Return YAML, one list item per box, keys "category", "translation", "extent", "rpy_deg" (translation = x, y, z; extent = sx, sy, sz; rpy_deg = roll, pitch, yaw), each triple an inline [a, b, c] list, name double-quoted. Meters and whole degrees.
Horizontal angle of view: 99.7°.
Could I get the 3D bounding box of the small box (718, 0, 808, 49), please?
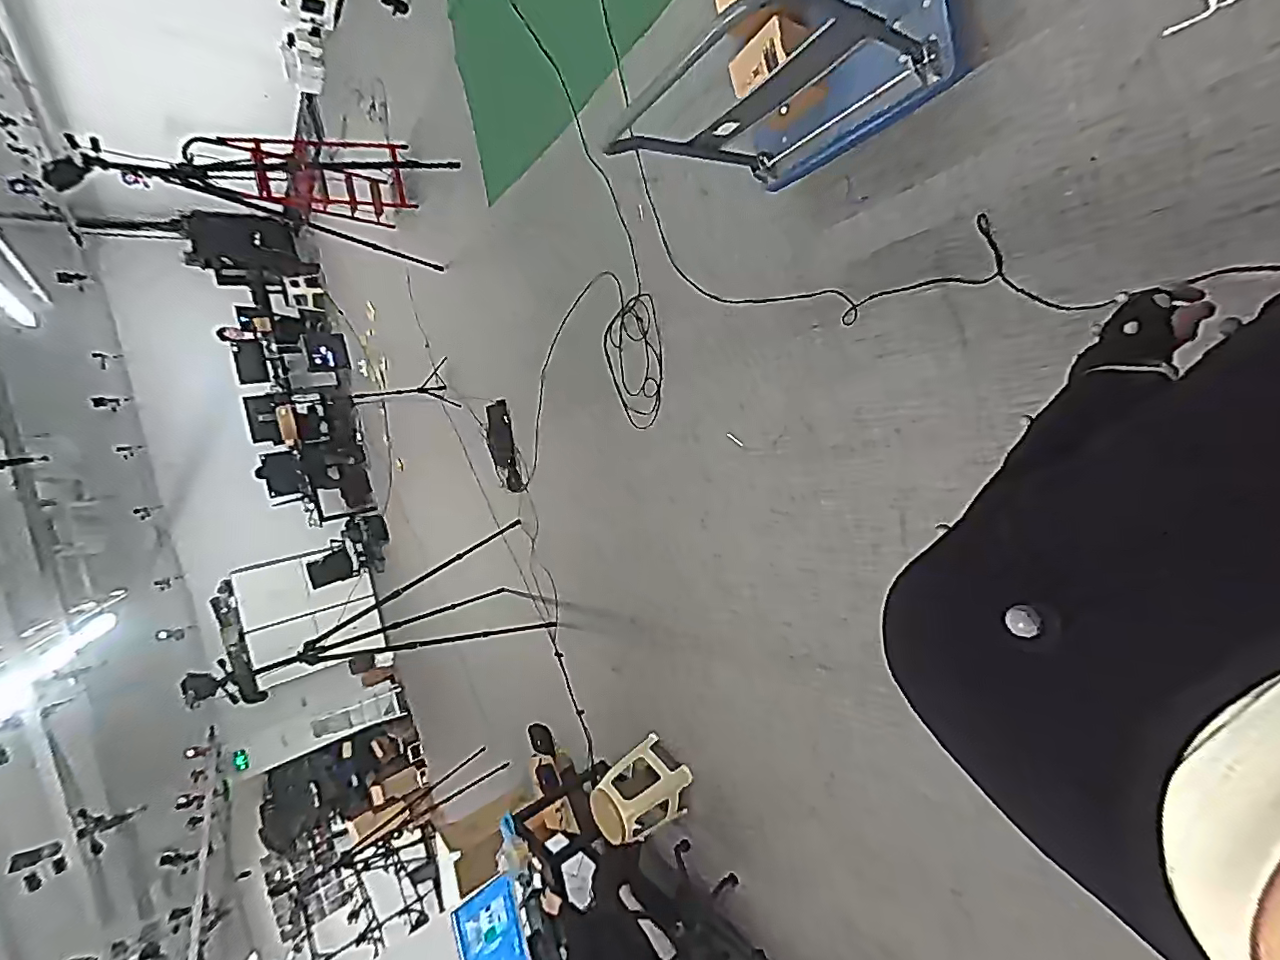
- category: "small box"
  translation: [0.331, -1.337, 1.481]
  extent: [0.179, 0.176, 0.168]
  rpy_deg: [-5, 97, 51]
